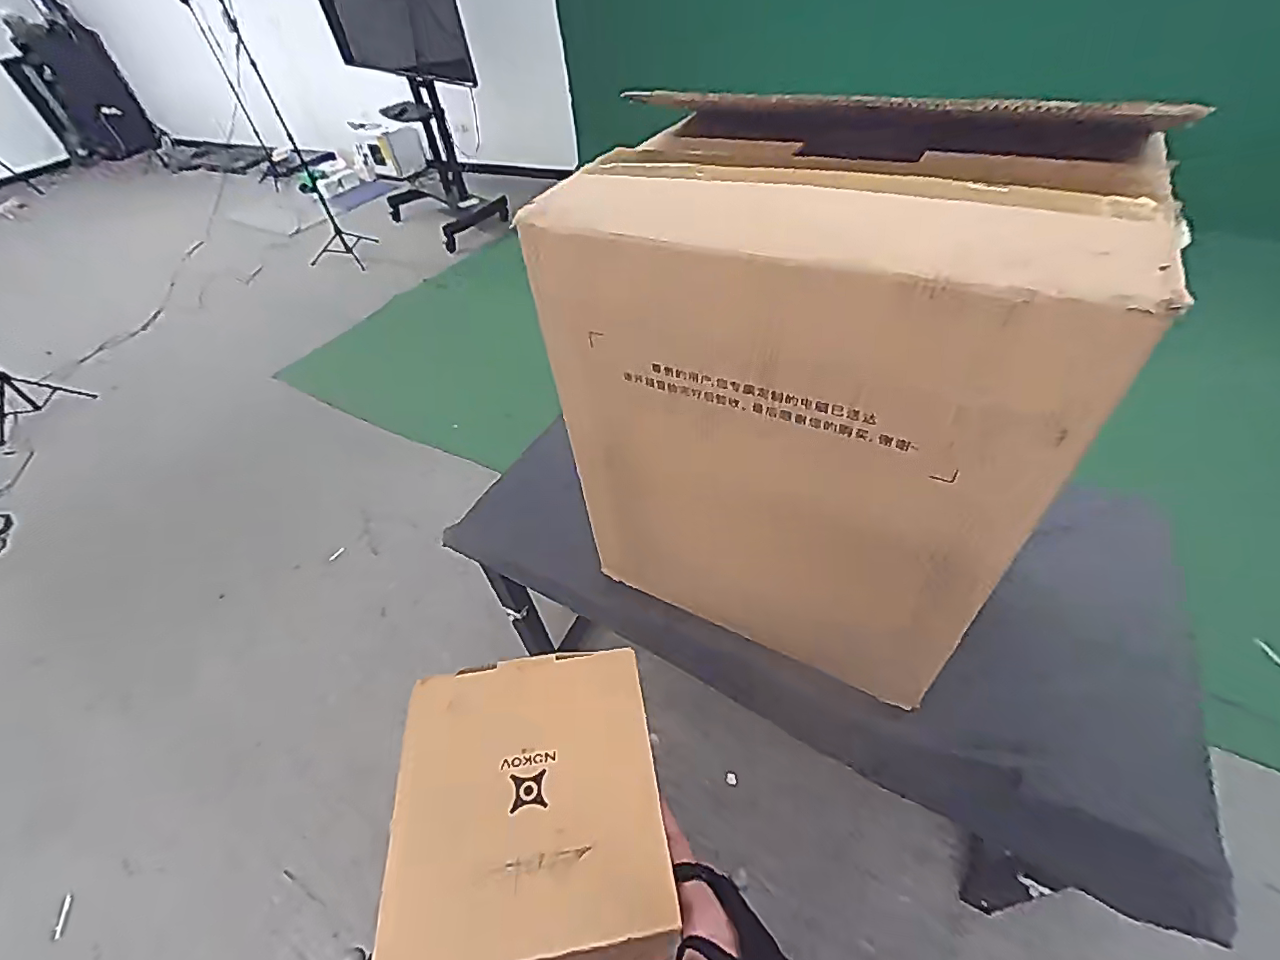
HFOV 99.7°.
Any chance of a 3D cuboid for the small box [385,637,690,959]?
[{"bbox_3d":[-0.069,0.247,0.402,0.168,0.176,0.179,-7,44,-9],"label":"small box"}]
